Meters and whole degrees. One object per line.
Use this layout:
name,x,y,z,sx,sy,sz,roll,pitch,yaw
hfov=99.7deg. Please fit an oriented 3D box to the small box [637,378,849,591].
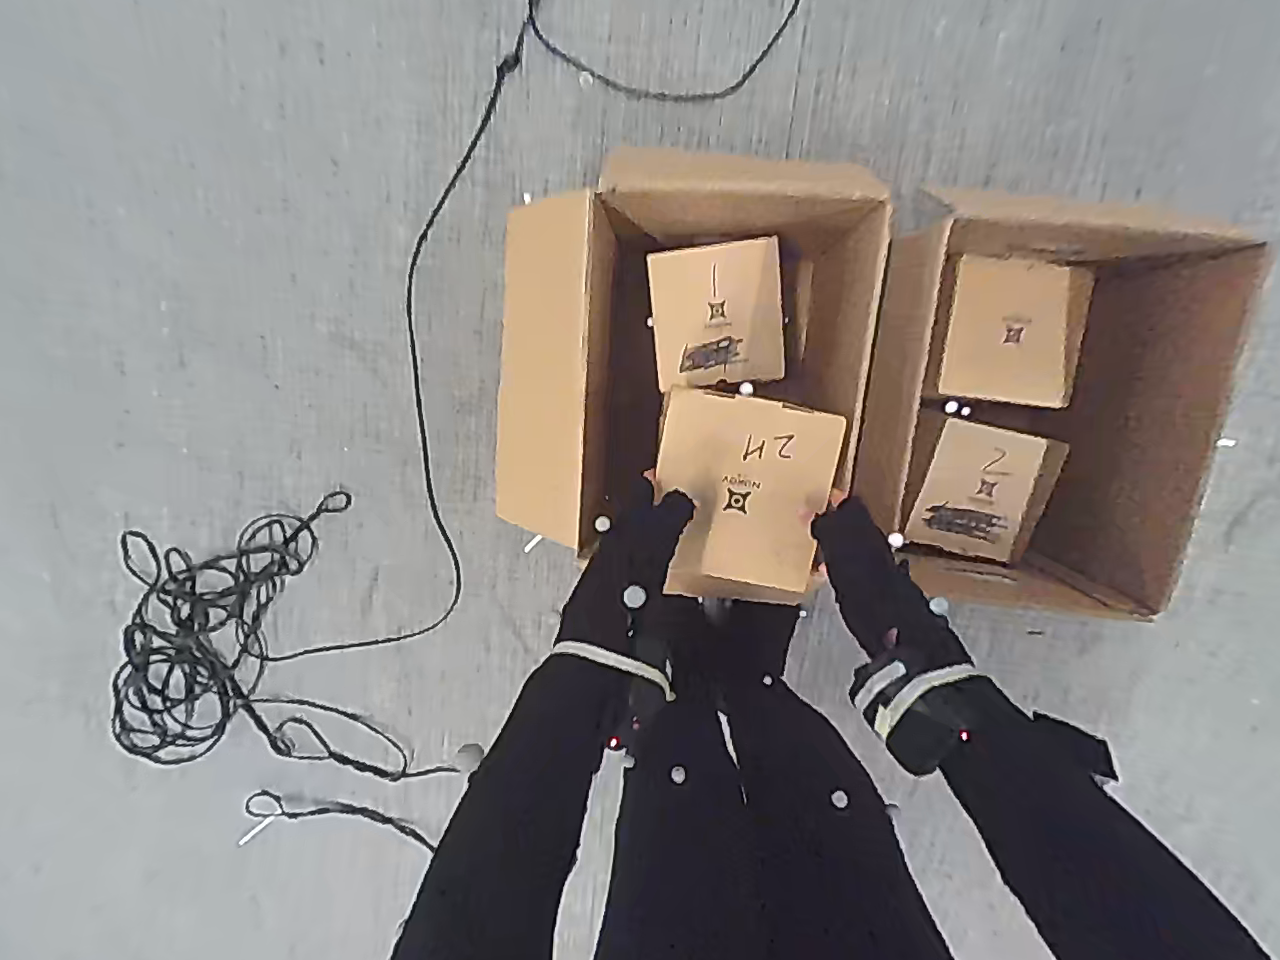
small box,0.098,-0.008,0.576,0.168,0.176,0.179,11,101,2
